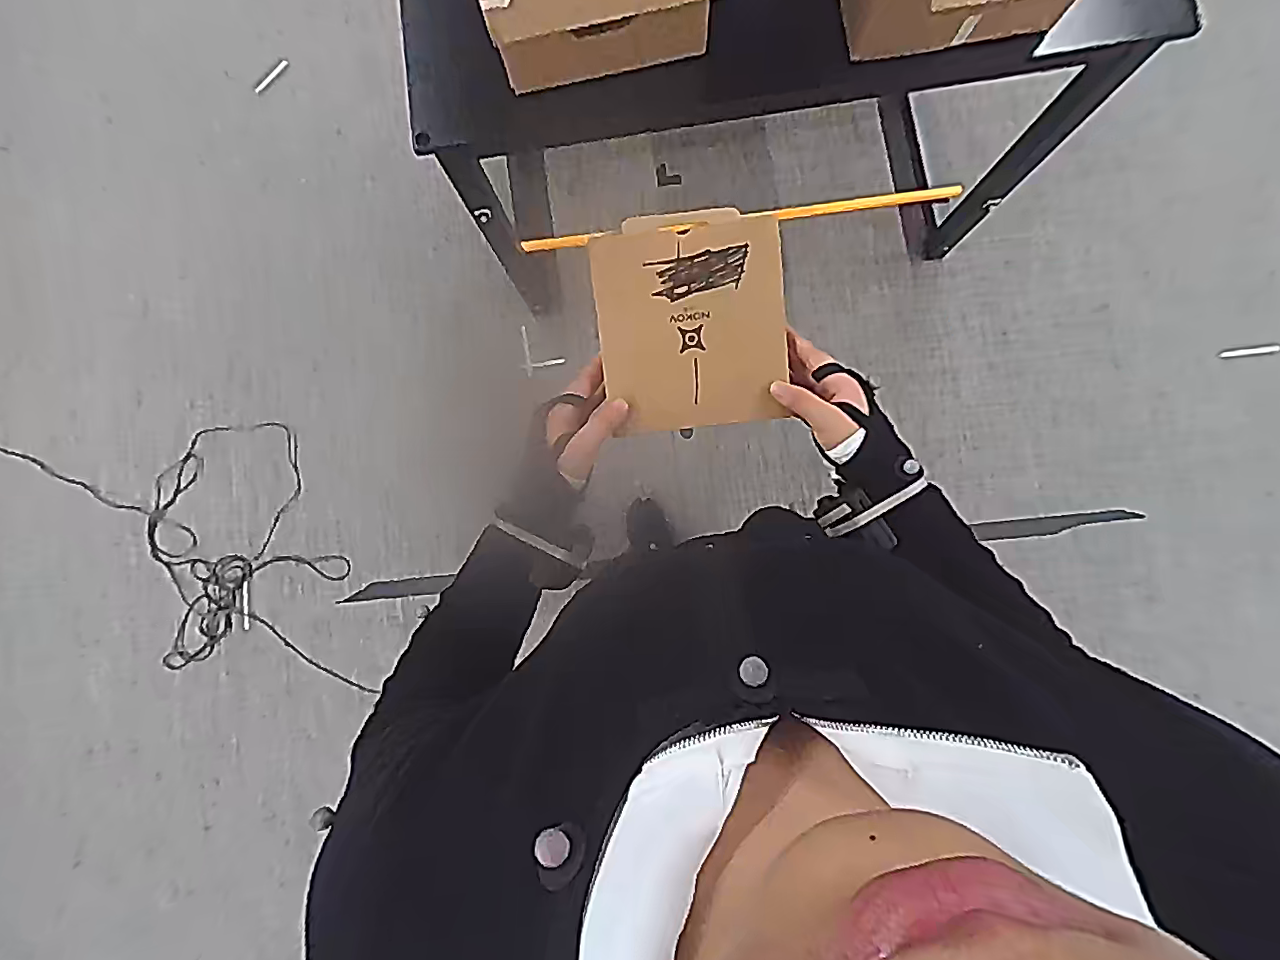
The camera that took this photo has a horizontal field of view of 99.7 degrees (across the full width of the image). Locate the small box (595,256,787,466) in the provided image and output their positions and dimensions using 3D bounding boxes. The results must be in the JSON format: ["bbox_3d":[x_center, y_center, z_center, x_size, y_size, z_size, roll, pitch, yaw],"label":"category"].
[{"bbox_3d":[0.047,-0.116,0.568,0.168,0.176,0.179,-6,98,1],"label":"small box"}]
